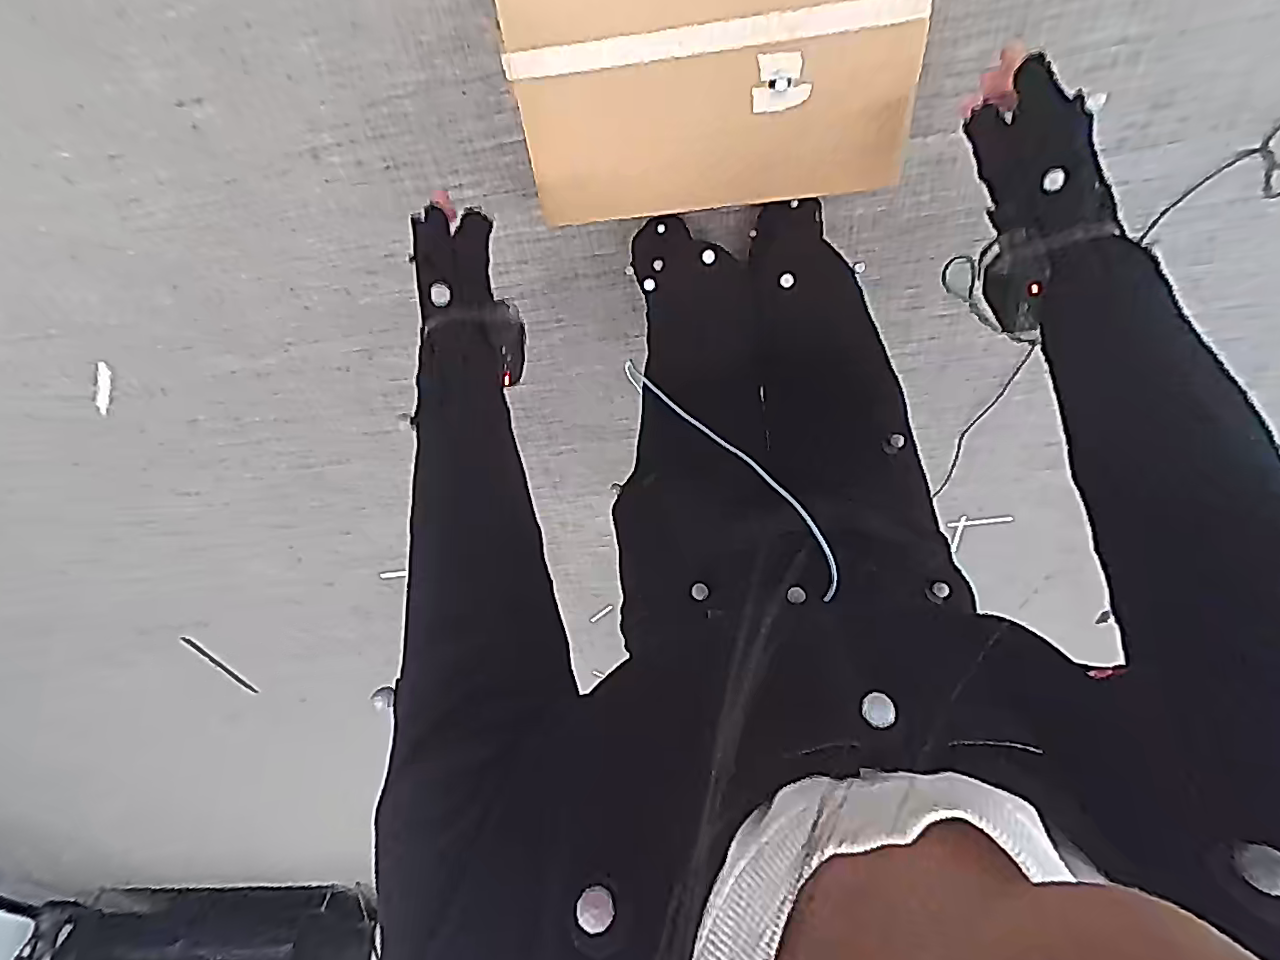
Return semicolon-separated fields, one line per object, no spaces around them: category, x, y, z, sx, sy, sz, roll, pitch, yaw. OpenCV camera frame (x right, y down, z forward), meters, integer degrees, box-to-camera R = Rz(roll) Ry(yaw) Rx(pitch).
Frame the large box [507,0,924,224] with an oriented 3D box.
large box;0.075;-0.538;0.644;0.408;0.320;0.320;-5;132;5
